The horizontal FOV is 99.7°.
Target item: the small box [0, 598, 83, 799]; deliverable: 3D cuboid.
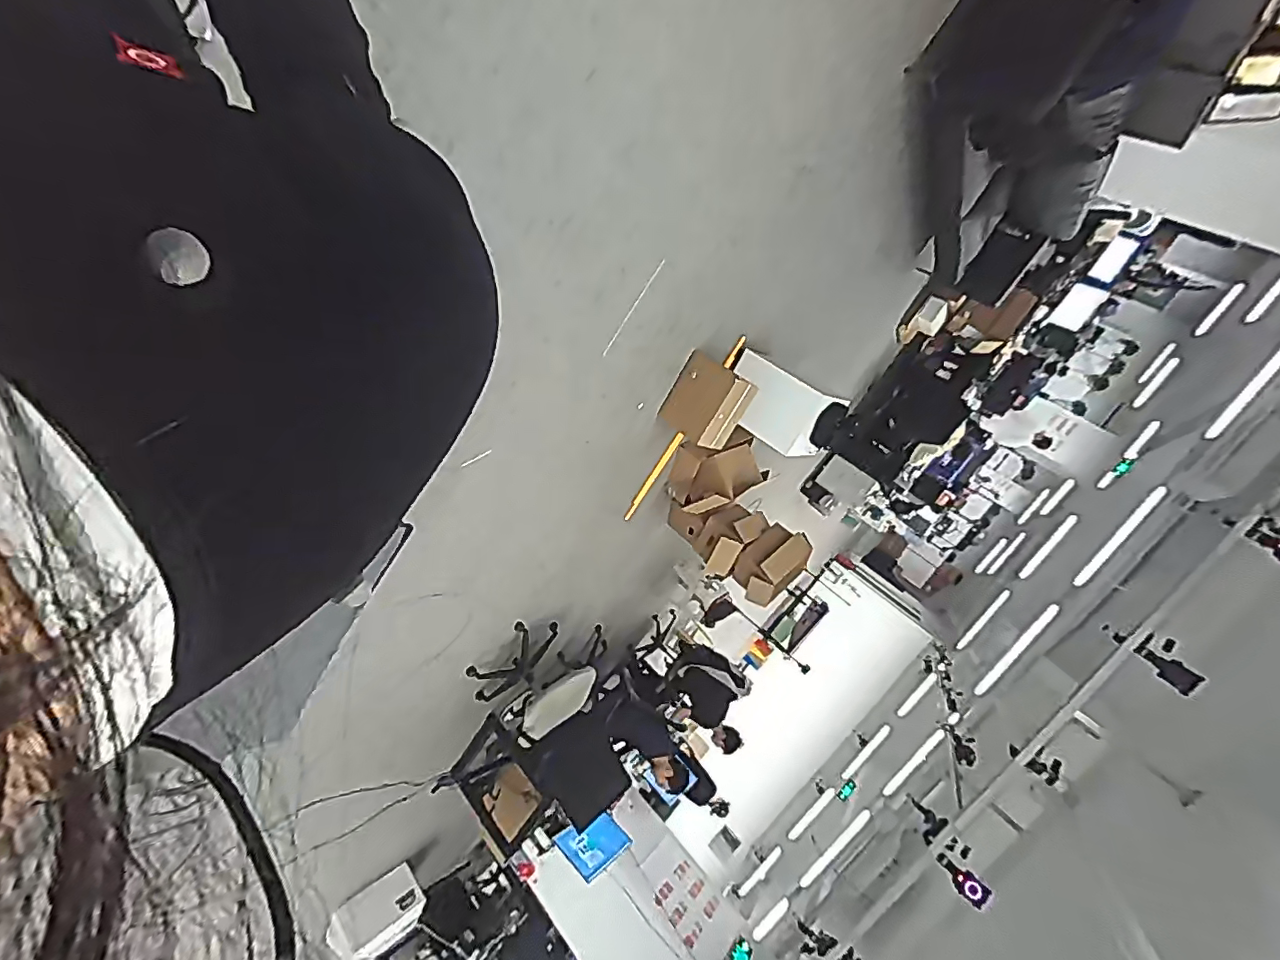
[{"bbox_3d":[-0.799,0.257,0.619,0.179,0.176,0.168,-54,153,9],"label":"small box"}]
